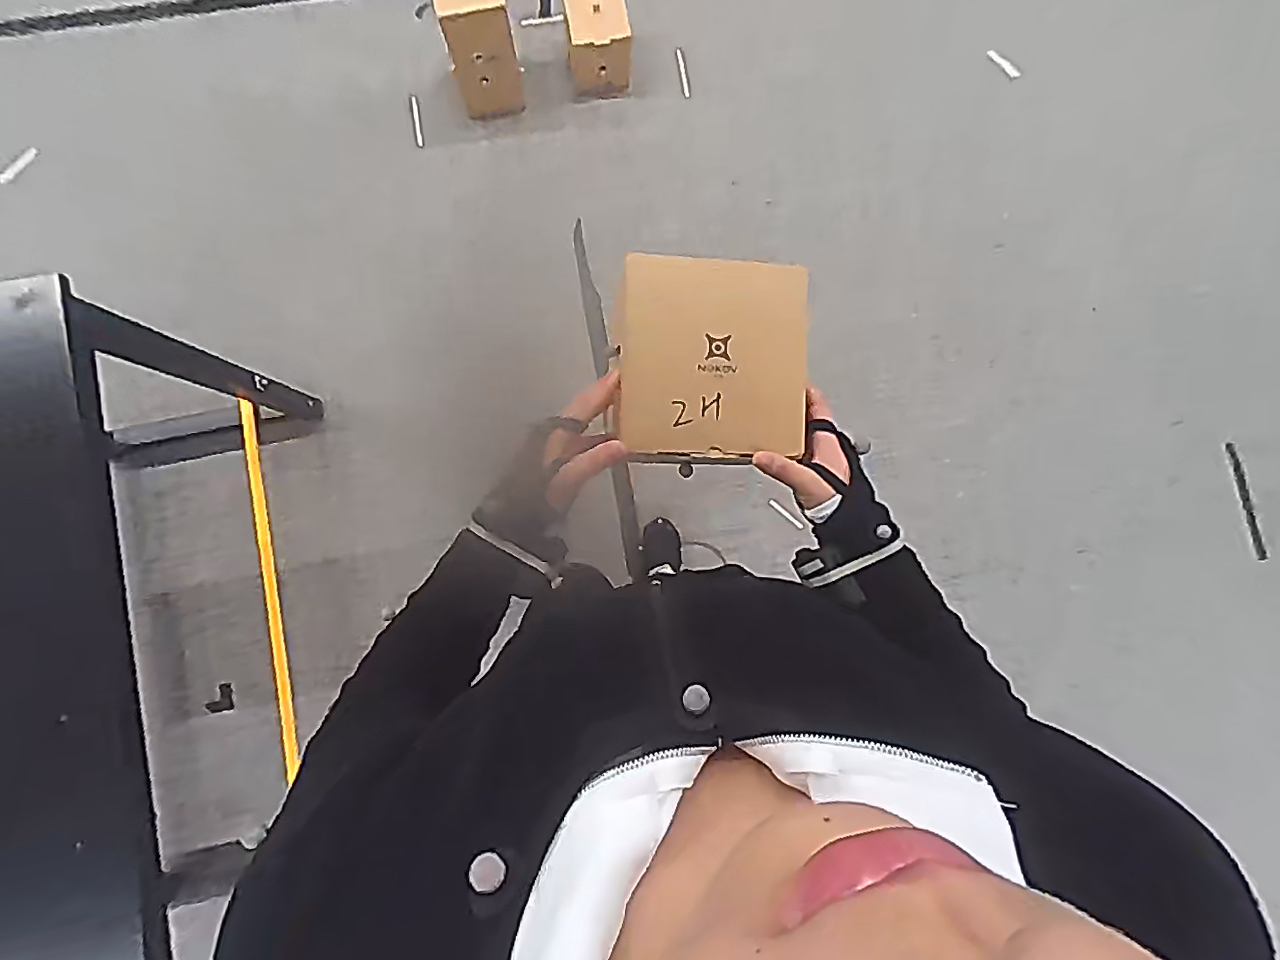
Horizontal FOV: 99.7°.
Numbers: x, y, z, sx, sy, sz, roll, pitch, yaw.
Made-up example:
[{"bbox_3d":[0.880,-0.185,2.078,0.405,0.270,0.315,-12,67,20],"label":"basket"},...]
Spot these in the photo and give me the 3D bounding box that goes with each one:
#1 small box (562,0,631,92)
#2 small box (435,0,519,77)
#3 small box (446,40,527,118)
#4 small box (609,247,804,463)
[{"bbox_3d":[-0.121,-1.247,1.540,0.168,0.176,0.179,-10,86,-4],"label":"small box"},{"bbox_3d":[-0.414,-1.166,1.352,0.168,0.176,0.179,-14,87,-3],"label":"small box"},{"bbox_3d":[-0.427,-1.155,1.514,0.179,0.176,0.168,-12,86,-4],"label":"small box"},{"bbox_3d":[0.055,-0.111,0.553,0.168,0.176,0.179,1,89,-7],"label":"small box"}]
